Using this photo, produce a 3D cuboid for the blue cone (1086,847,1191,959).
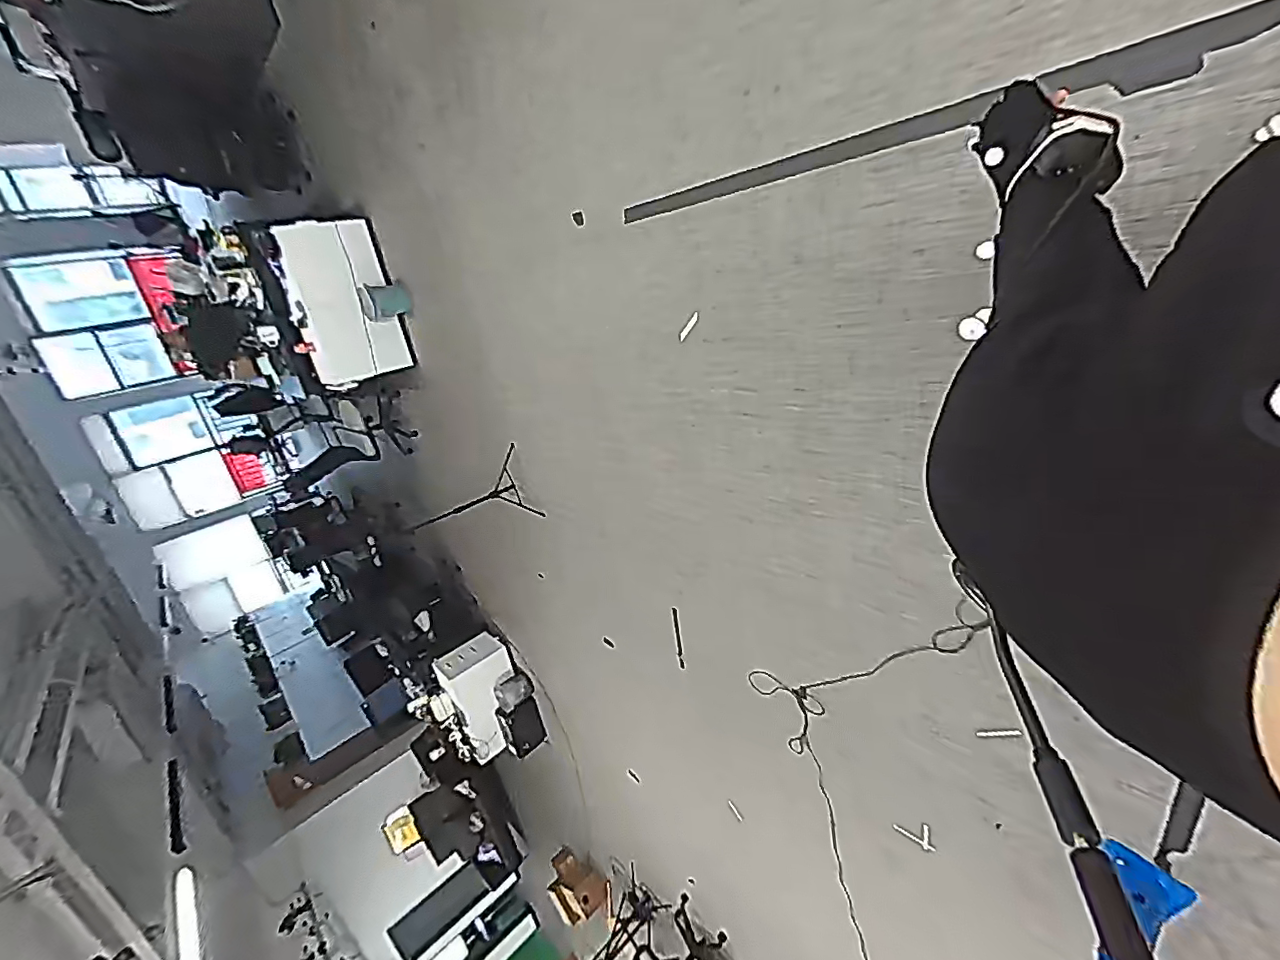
[{"bbox_3d":[1.279,1.202,1.427,0.192,0.380,0.193,30,133,35],"label":"blue cone"}]
